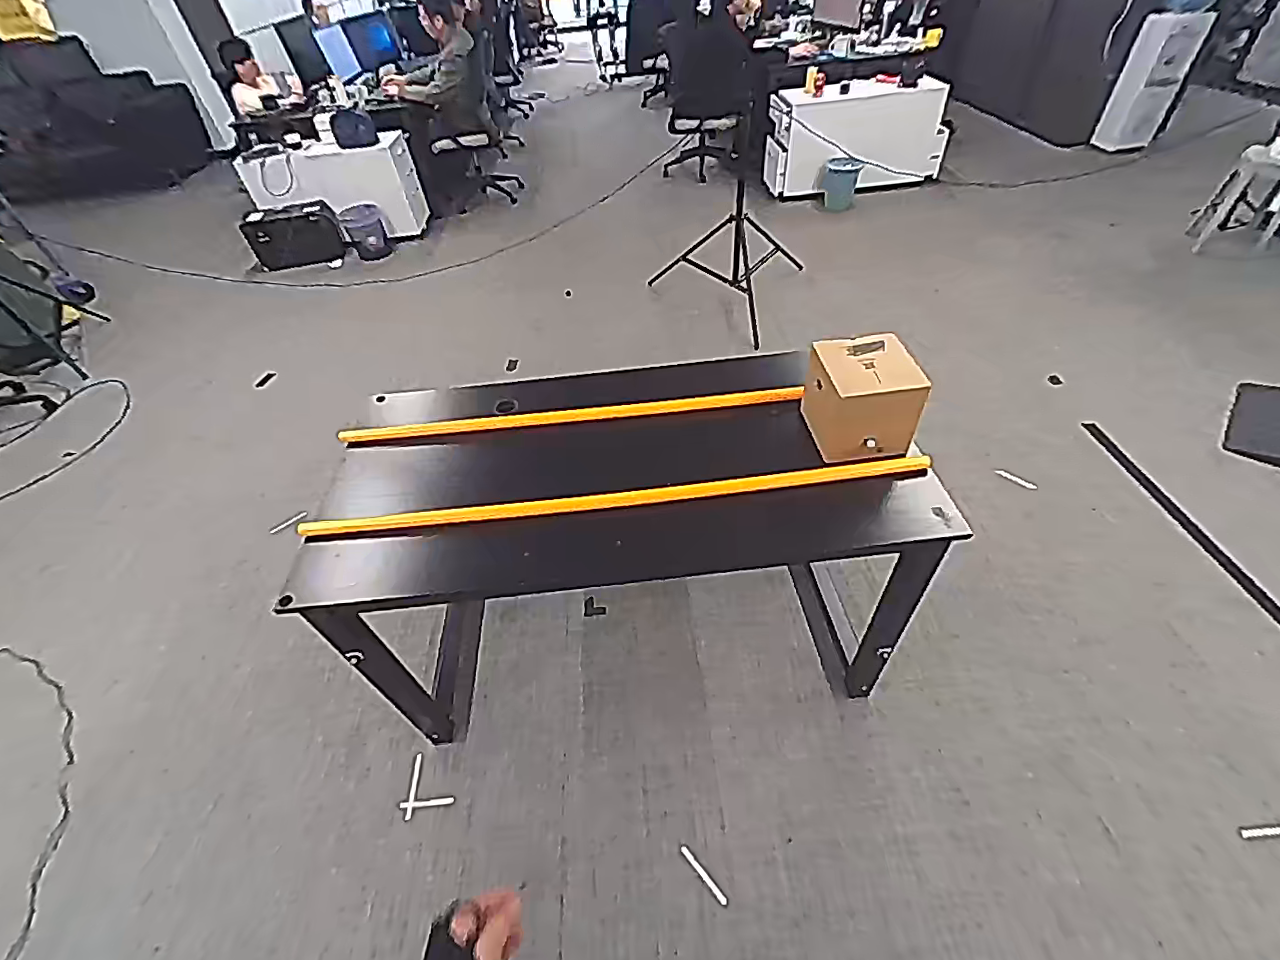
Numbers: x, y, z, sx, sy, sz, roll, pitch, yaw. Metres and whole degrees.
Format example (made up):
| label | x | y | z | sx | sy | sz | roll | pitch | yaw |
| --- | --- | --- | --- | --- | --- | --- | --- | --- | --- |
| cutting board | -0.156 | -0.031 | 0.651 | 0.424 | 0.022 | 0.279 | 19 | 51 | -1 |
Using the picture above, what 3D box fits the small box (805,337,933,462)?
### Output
| label | x | y | z | sx | sy | sz | roll | pitch | yaw |
| --- | --- | --- | --- | --- | --- | --- | --- | --- | --- |
| small box | 0.438 | -0.158 | 1.071 | 0.168 | 0.176 | 0.179 | -7 | 46 | 1 |
